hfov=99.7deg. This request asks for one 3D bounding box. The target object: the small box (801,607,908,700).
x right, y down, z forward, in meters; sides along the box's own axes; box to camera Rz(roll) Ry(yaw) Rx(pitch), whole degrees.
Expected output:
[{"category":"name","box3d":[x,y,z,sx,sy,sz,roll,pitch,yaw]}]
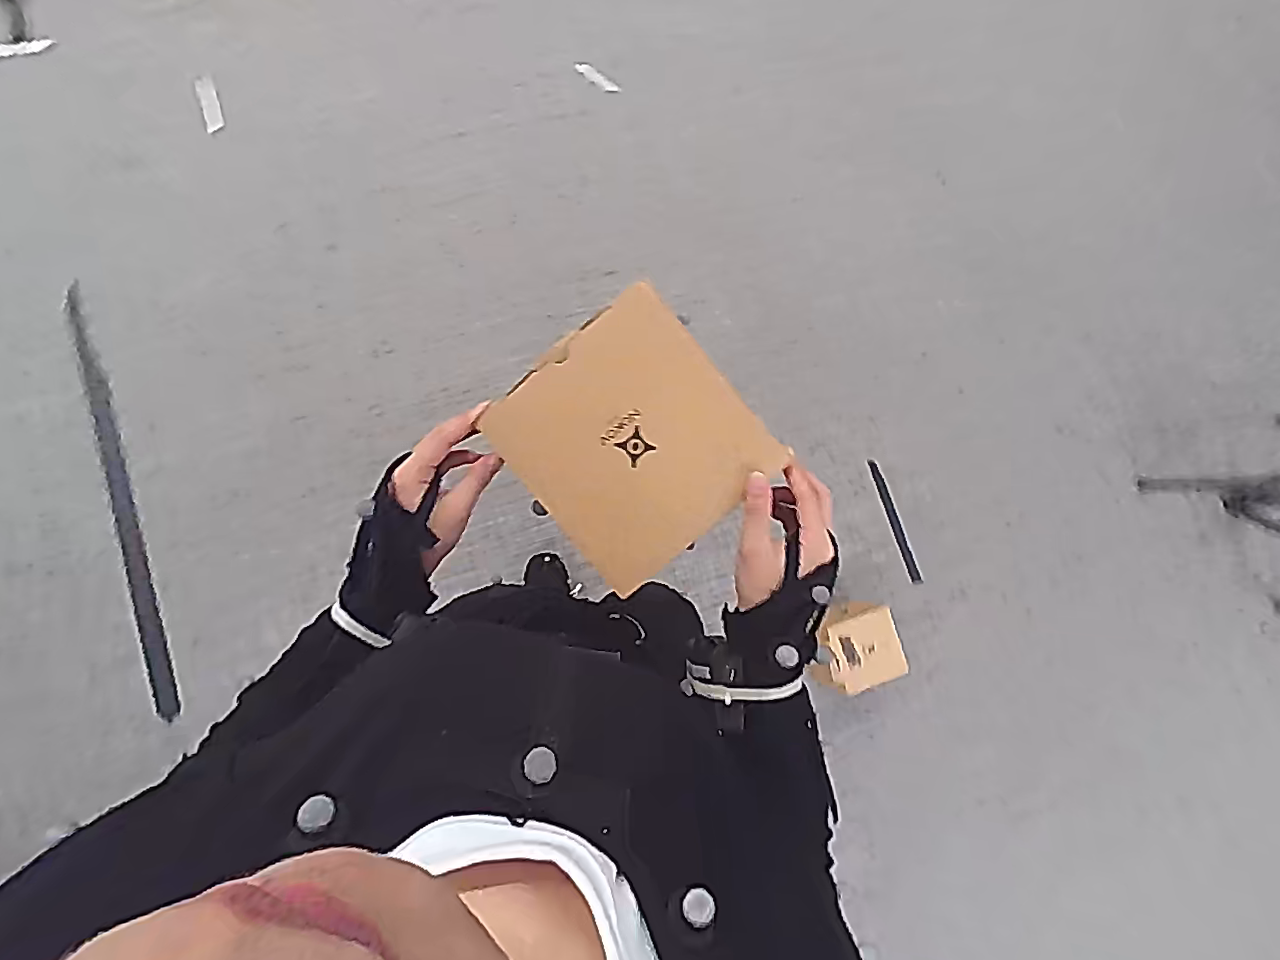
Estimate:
[{"category":"small box","box3d":[0.527,0.429,1.364,0.179,0.176,0.168,-16,86,-11]}]
